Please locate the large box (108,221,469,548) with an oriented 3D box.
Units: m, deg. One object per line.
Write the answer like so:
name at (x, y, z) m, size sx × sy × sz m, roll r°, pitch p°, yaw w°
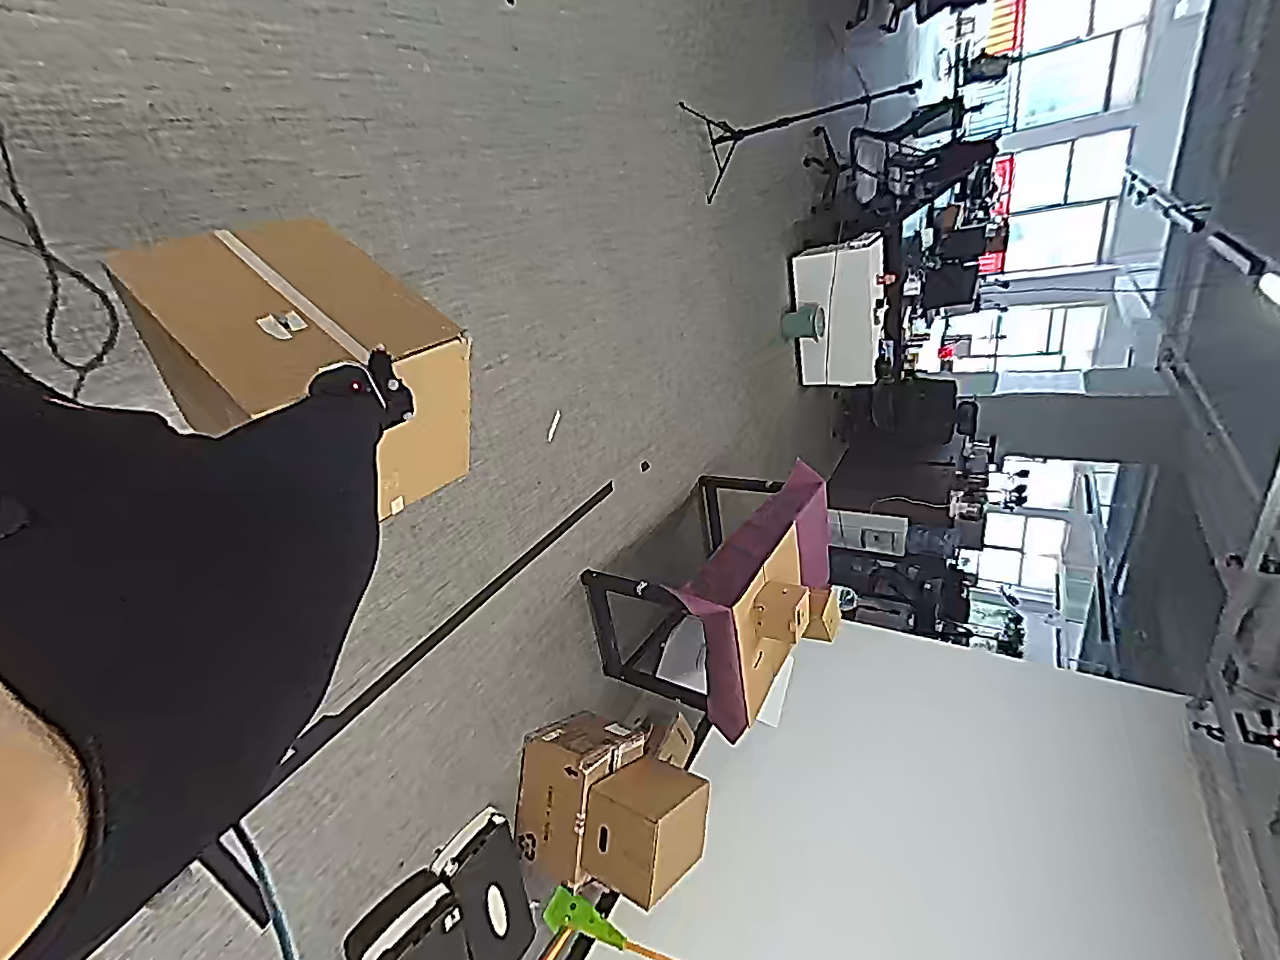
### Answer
large box at (-0.546, -0.170, 0.905) m, size 0.320 × 0.408 × 0.320 m, roll -38°, pitch 160°, yaw -39°
